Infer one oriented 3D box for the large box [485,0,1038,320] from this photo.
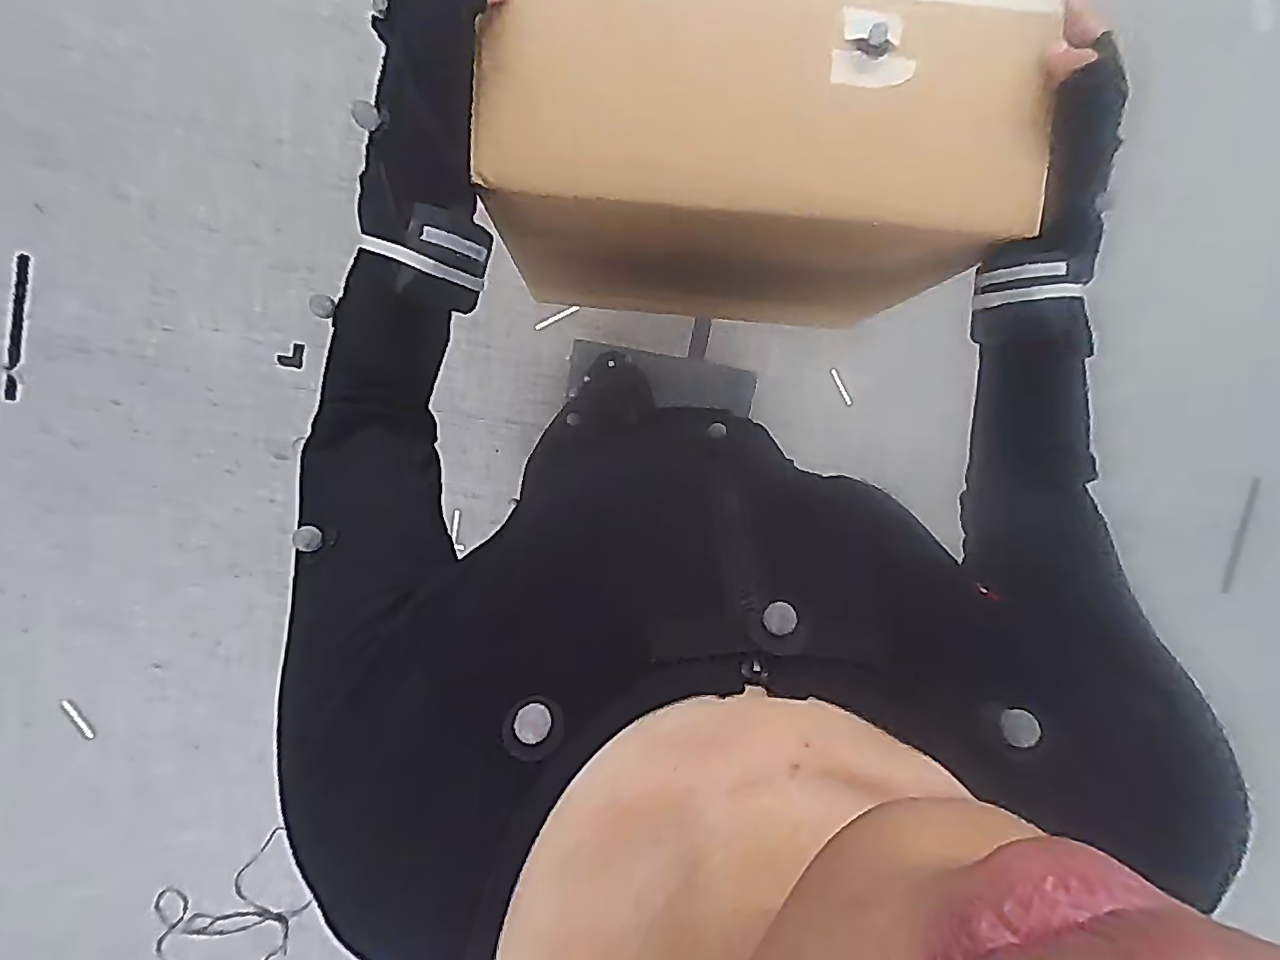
[{"bbox_3d":[0.084,-0.359,0.534,0.408,0.320,0.320,4,93,-4],"label":"large box"}]
